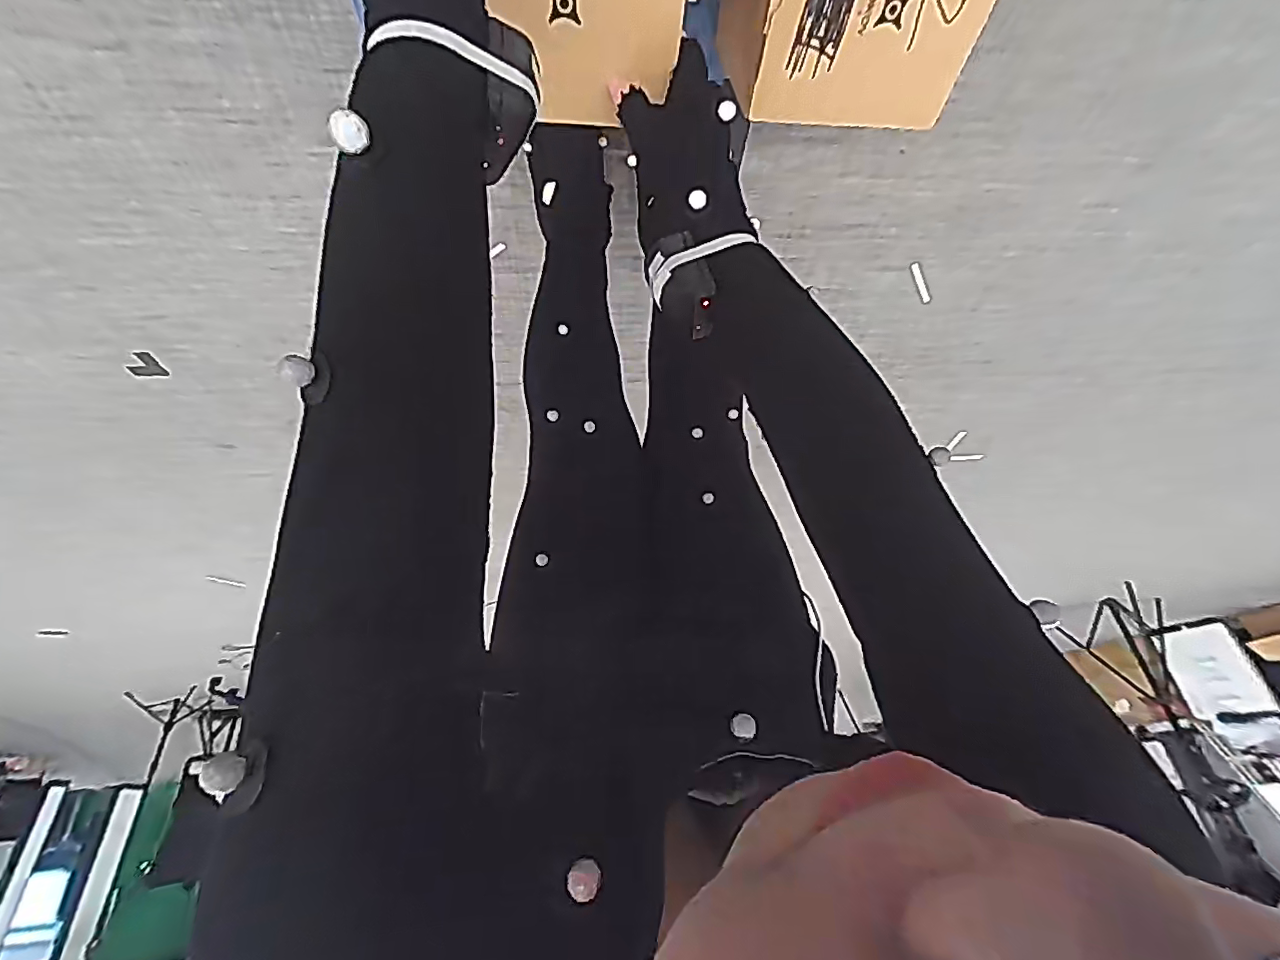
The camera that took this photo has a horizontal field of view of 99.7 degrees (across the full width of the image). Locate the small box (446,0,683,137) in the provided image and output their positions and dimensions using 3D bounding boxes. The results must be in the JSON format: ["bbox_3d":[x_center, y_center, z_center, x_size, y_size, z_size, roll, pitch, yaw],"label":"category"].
[{"bbox_3d":[-0.054,-0.400,0.408,0.168,0.176,0.179,0,150,-6],"label":"small box"}]
